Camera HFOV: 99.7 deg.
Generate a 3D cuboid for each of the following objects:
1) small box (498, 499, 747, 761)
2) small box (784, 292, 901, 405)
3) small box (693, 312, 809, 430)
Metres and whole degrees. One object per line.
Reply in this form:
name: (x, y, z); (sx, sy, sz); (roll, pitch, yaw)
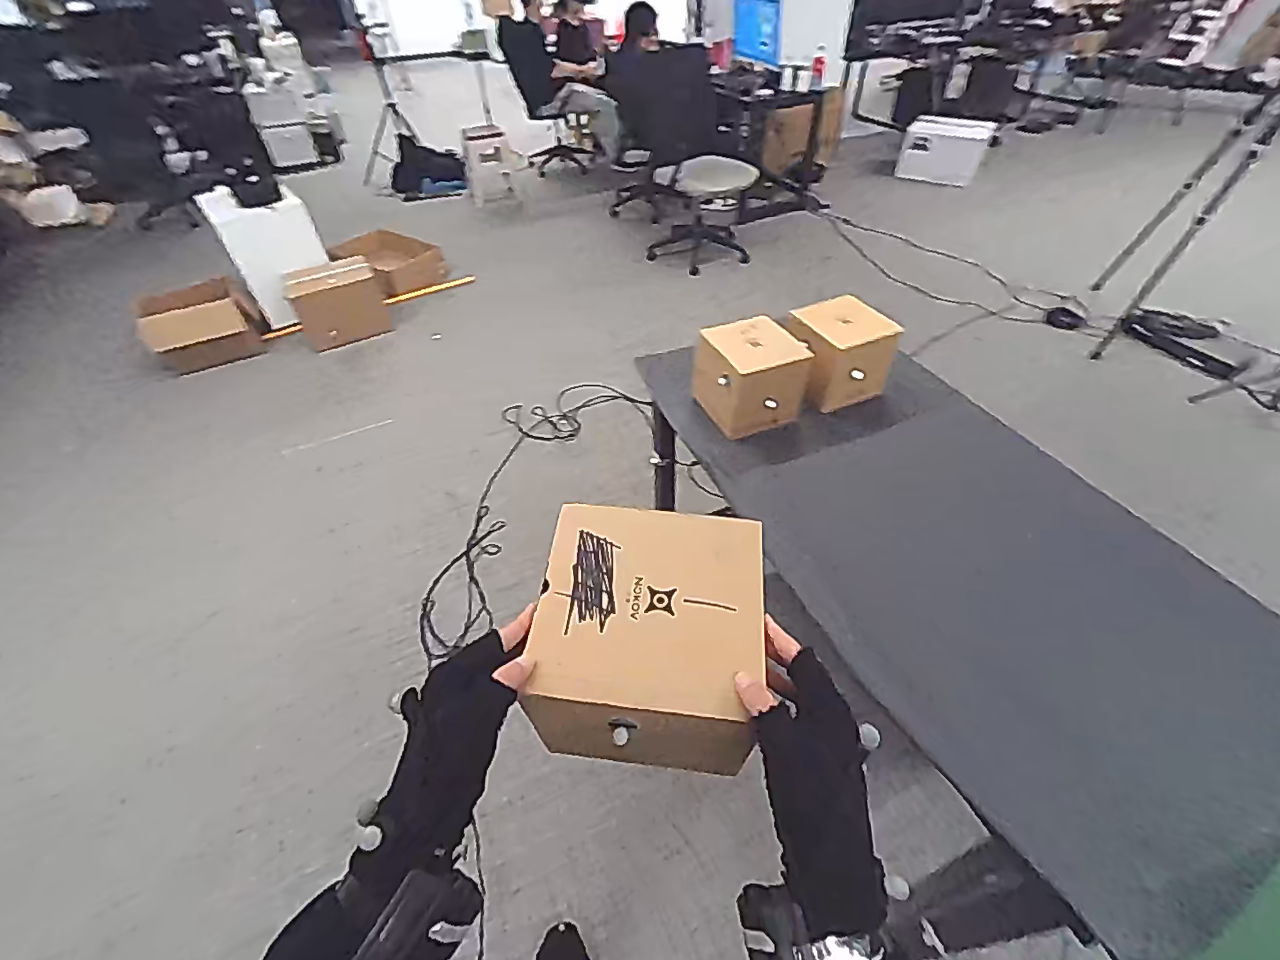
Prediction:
small box: (-0.003, 0.135, 0.478); (0.179, 0.176, 0.168); (4, 51, 5)
small box: (0.430, -0.284, 1.194); (0.168, 0.176, 0.179); (-19, 47, -16)
small box: (0.223, -0.223, 1.135); (0.168, 0.176, 0.179); (-17, 48, -16)
